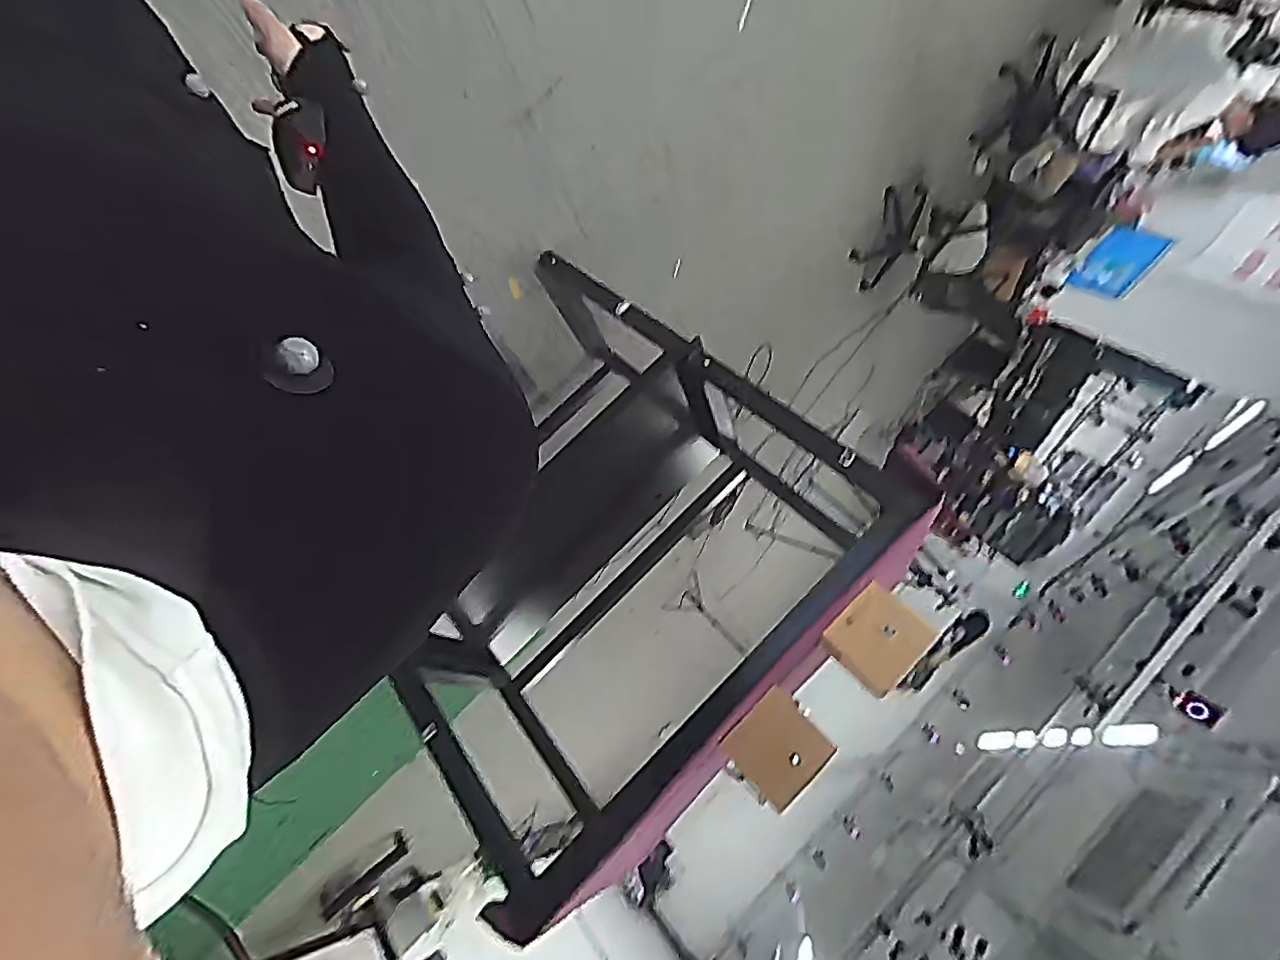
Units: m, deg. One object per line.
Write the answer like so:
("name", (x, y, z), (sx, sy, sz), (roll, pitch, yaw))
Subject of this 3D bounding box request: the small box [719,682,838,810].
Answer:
("small box", (0.293, 0.557, 1.151), (0.179, 0.176, 0.168), (-44, 151, -6))

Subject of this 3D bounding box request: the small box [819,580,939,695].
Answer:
("small box", (0.514, 0.344, 1.188), (0.168, 0.176, 0.179), (-44, 152, -6))
